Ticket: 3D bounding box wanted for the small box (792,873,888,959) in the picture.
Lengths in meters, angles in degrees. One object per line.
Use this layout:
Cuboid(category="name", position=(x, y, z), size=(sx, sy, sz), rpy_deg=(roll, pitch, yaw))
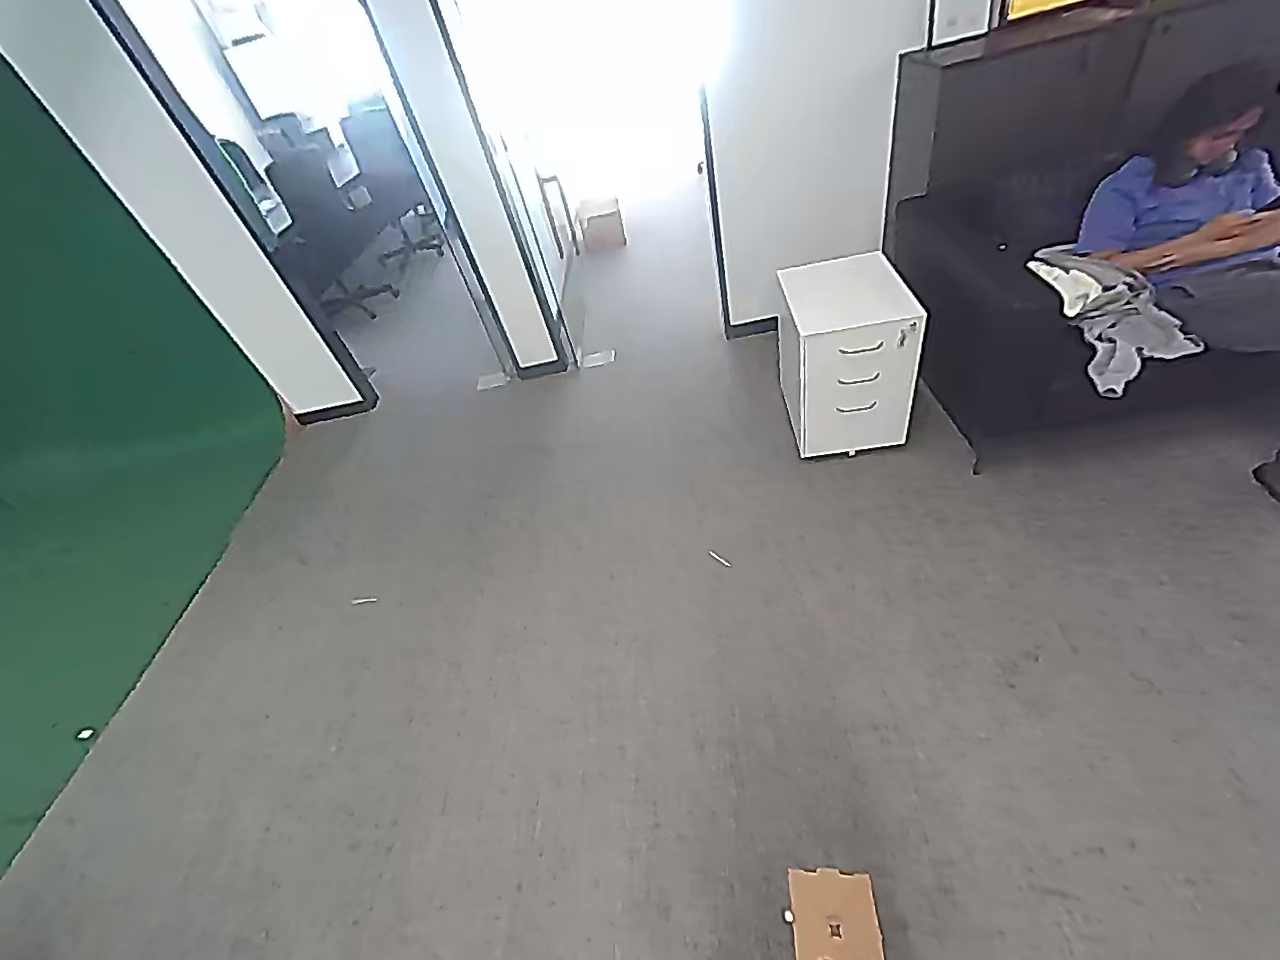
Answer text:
Cuboid(category="small box", position=(0.404, 0.940, 1.111), size=(0.168, 0.176, 0.179), rpy_deg=(-4, 42, 12))
